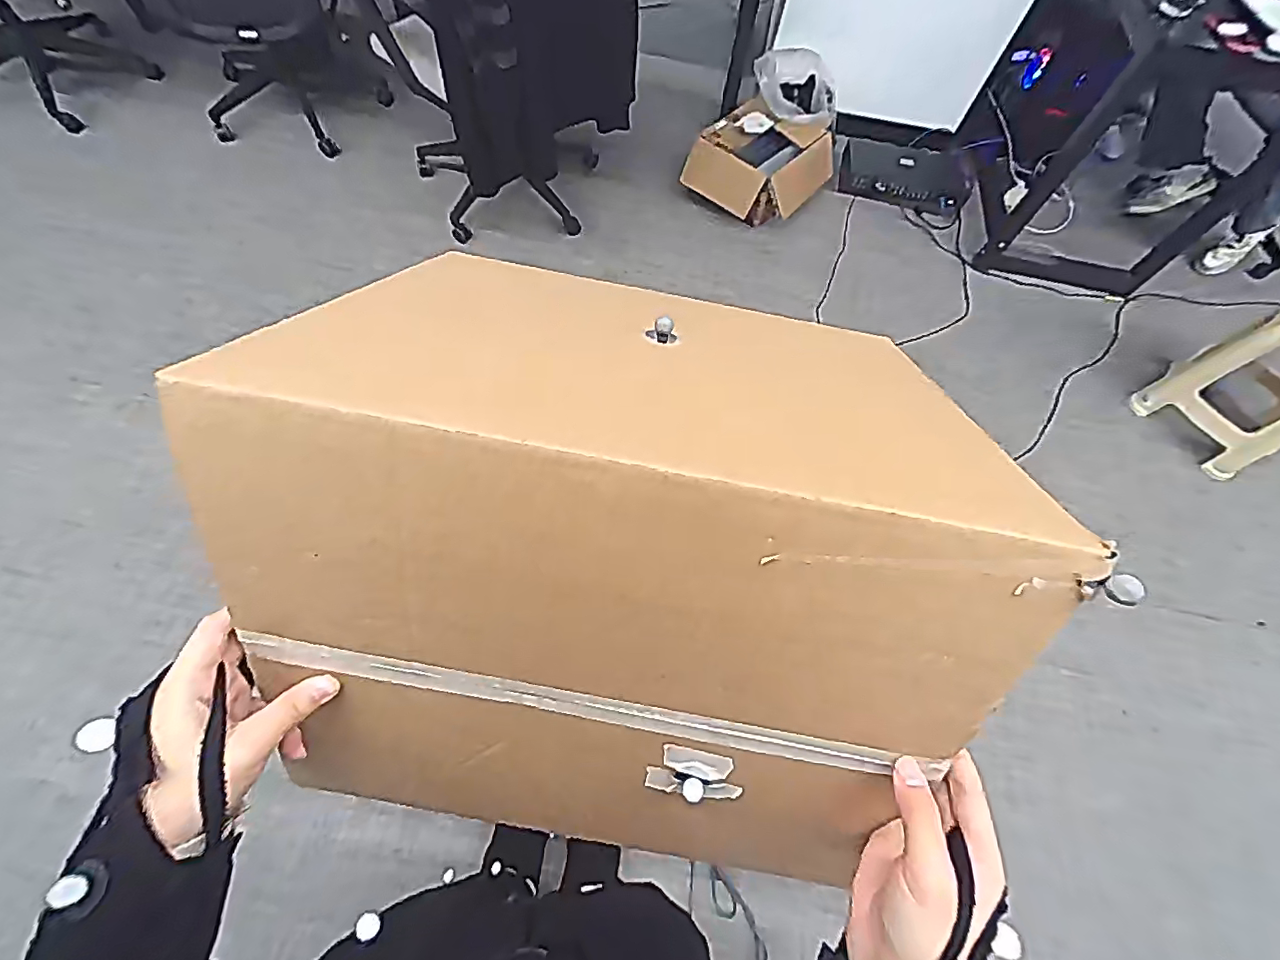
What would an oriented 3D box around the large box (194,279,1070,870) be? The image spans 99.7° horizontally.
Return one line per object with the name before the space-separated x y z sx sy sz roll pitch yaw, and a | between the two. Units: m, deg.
large box | -0.014 0.048 0.442 0.408 0.320 0.320 10 32 -1
